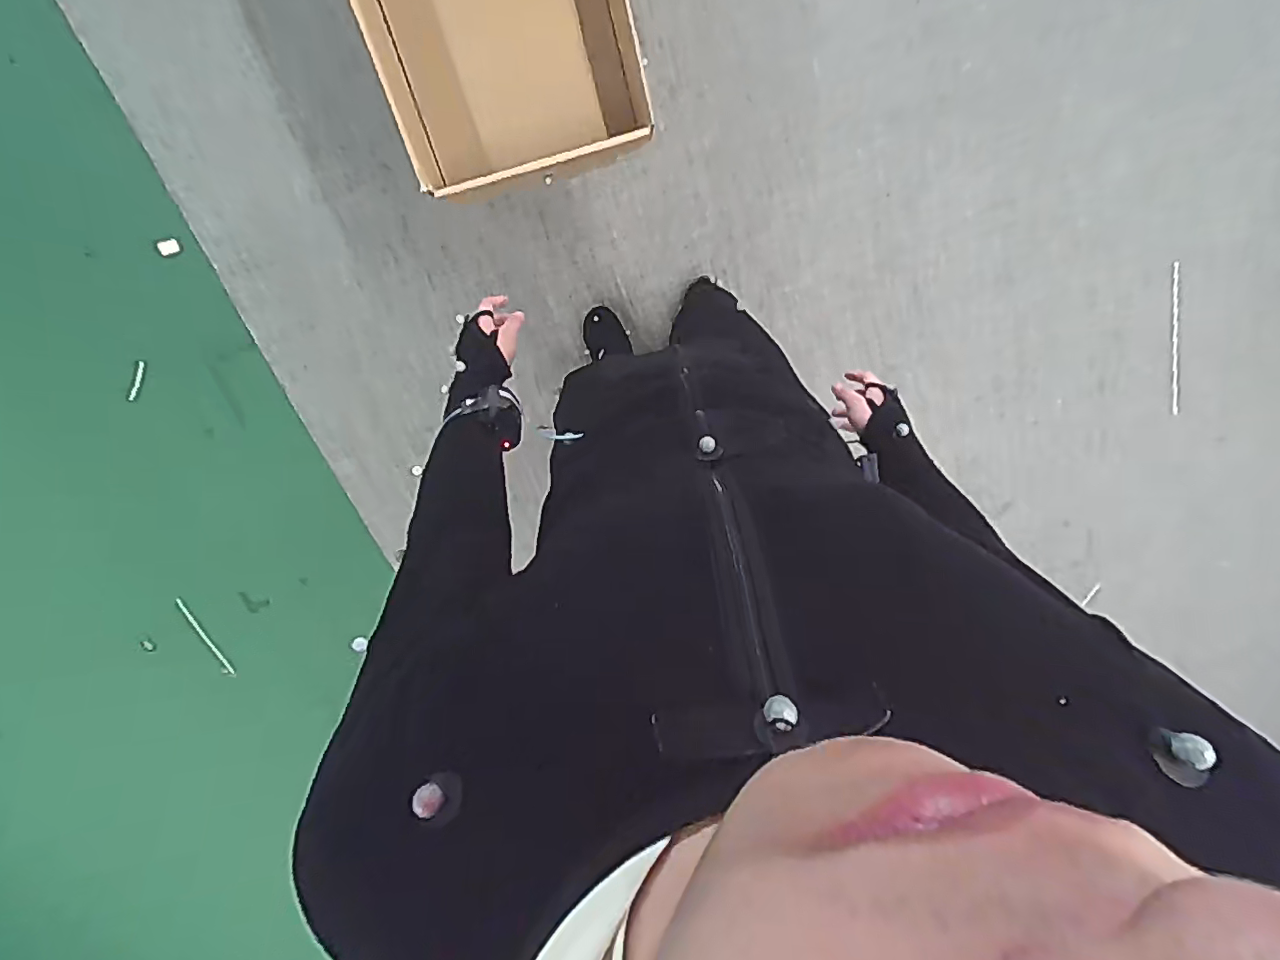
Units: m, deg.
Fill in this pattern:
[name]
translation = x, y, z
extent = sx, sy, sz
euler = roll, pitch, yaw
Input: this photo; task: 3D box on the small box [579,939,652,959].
[small box]
translation = -0.048, 1.171, 1.211
extent = 0.168, 0.176, 0.179
euler = -3, 112, -6
